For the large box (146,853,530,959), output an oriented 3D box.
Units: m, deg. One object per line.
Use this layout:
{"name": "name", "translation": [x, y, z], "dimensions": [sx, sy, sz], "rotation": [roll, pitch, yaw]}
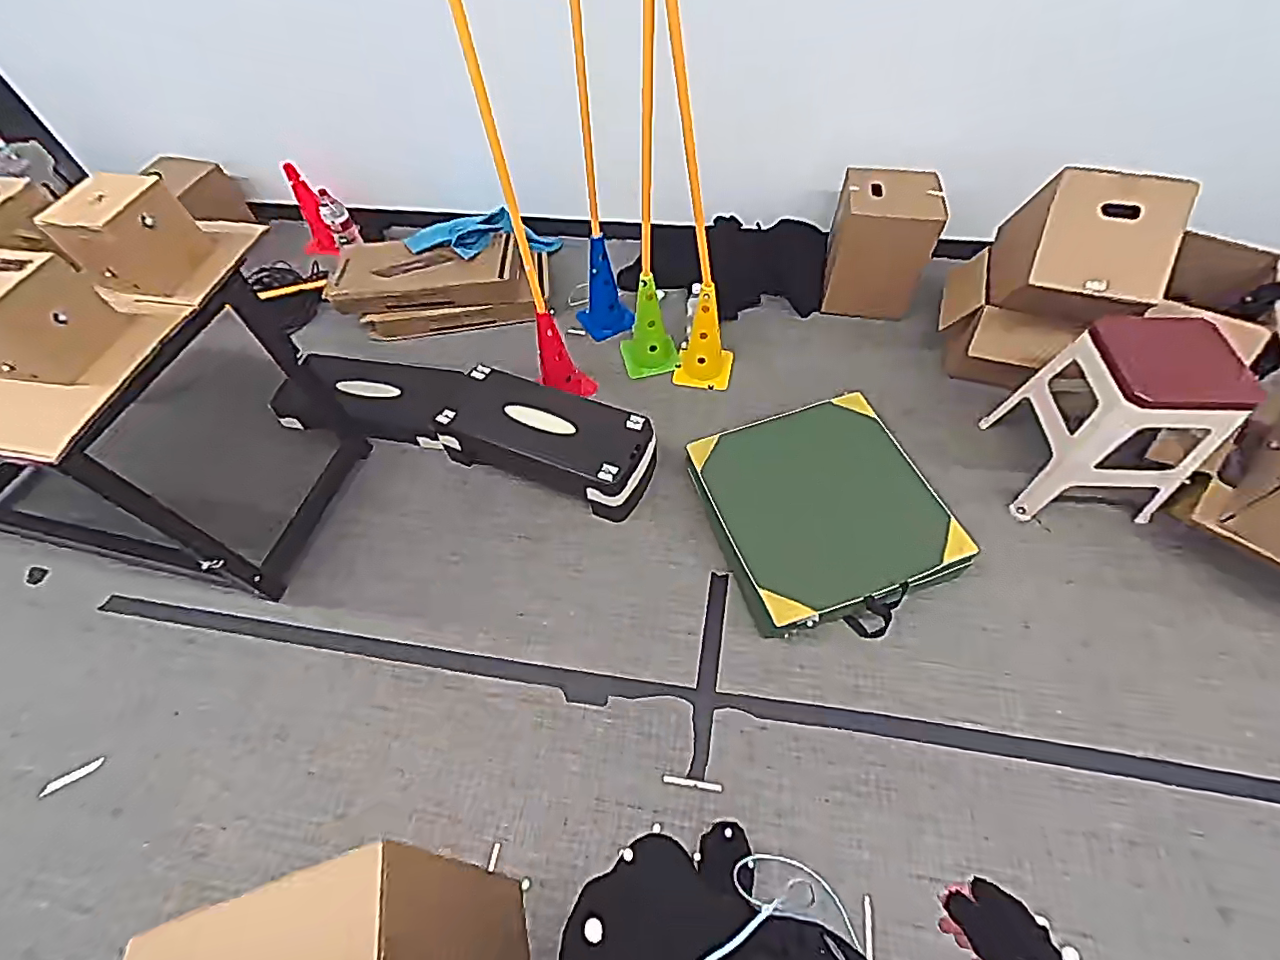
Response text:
{"name": "large box", "translation": [-0.349, 0.717, 0.665], "dimensions": [0.320, 0.408, 0.320], "rotation": [-22, 46, -2]}
